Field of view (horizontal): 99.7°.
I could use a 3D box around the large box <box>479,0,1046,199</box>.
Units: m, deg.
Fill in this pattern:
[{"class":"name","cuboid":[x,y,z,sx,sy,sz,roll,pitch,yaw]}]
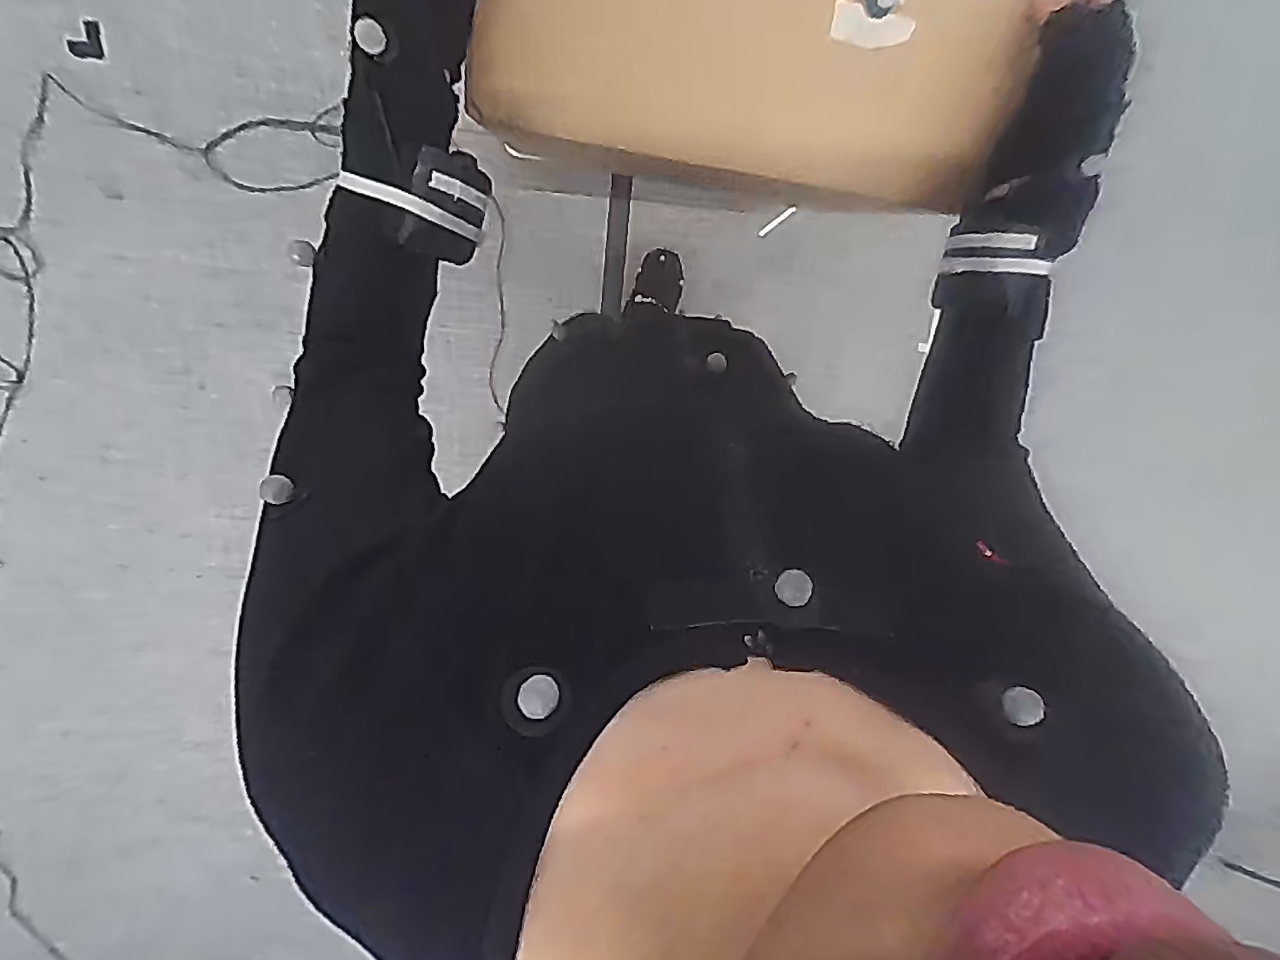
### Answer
[{"class":"large box","cuboid":[0.082,-0.450,0.479,0.408,0.320,0.320,4,117,-10]}]
